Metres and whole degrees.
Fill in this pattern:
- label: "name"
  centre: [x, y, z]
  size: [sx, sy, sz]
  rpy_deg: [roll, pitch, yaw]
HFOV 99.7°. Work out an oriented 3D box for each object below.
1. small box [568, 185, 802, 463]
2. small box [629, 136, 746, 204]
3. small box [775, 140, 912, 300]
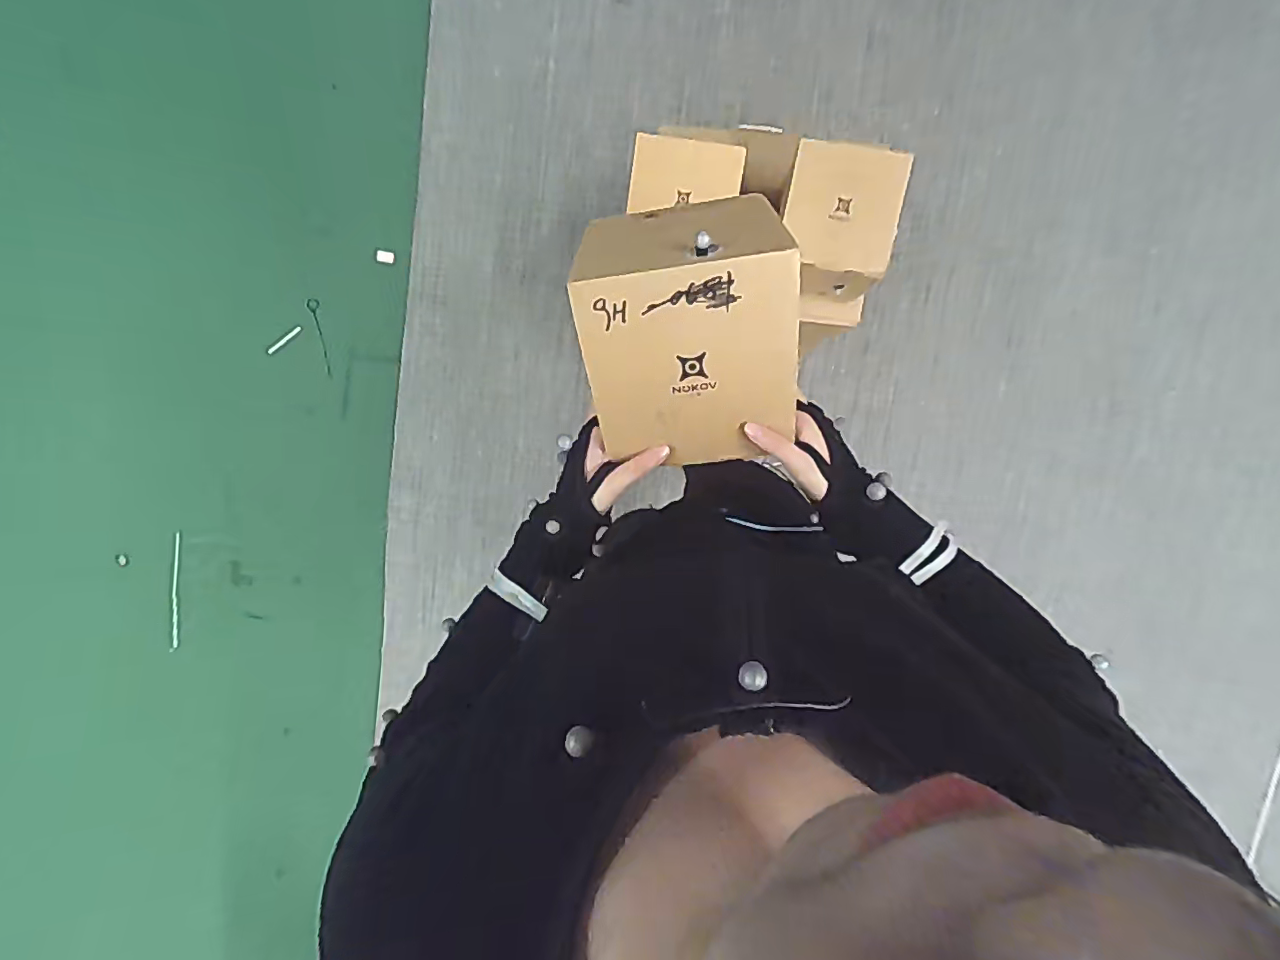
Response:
- label: "small box"
  centre: [0.043, -0.140, 0.487]
  size: [0.168, 0.176, 0.179]
  rpy_deg: [-7, 129, 6]
- label: "small box"
  centre: [0.067, -0.422, 0.885]
  size: [0.168, 0.176, 0.179]
  rpy_deg: [8, 99, 2]
- label: "small box"
  centre: [0.303, -0.402, 0.867]
  size: [0.168, 0.176, 0.179]
  rpy_deg: [11, 96, 4]
